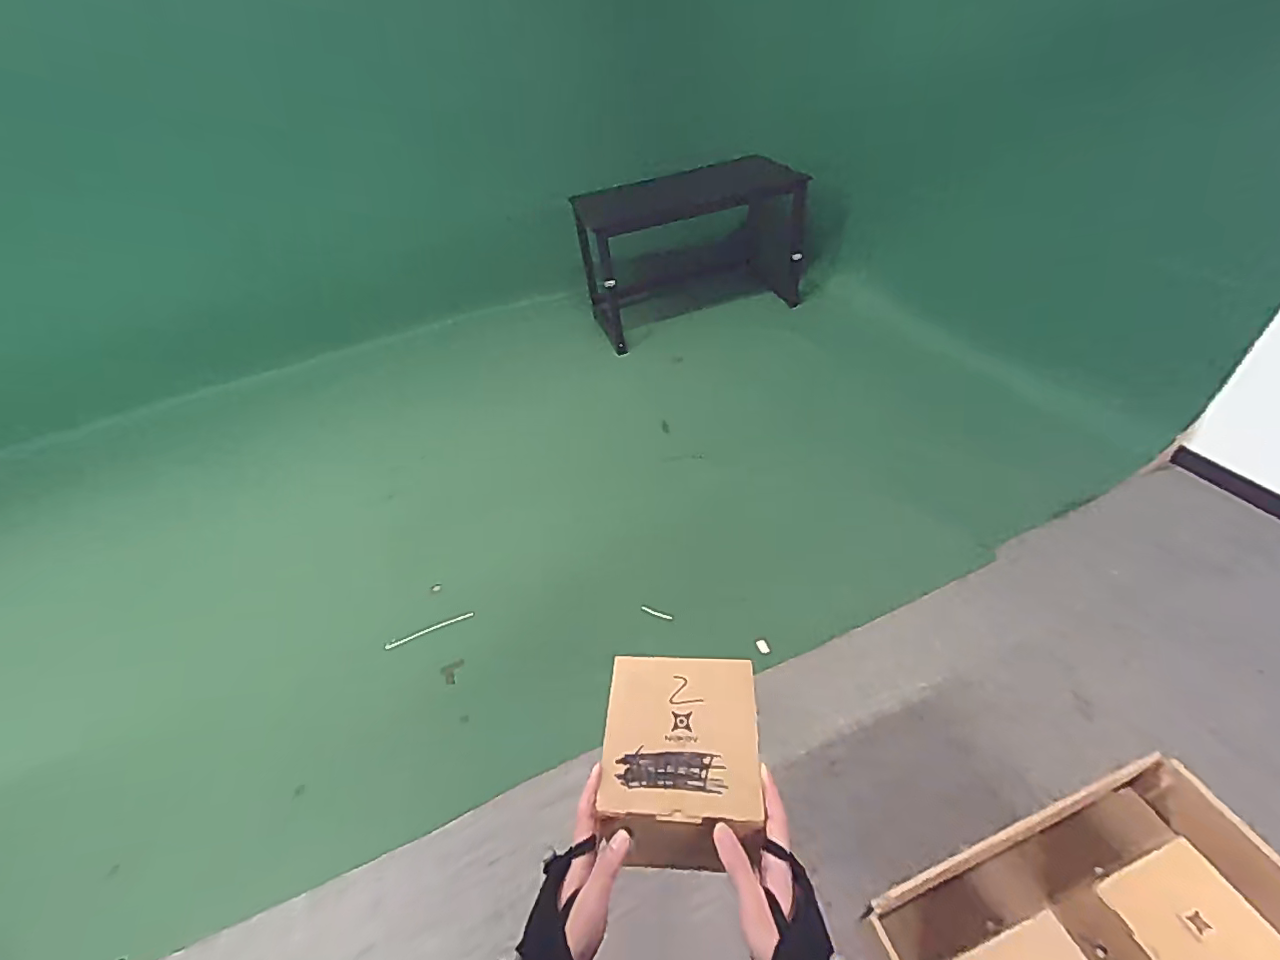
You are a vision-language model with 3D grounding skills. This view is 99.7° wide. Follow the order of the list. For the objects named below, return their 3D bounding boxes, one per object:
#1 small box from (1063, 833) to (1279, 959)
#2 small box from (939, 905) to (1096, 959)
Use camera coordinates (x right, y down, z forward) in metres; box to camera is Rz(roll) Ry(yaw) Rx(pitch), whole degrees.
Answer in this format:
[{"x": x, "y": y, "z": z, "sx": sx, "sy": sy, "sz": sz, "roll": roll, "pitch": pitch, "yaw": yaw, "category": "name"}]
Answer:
[{"x": 0.796, "y": 0.671, "z": 0.812, "sx": 0.179, "sy": 0.176, "sz": 0.168, "roll": -21, "pitch": 45, "yaw": -9, "category": "small box"}, {"x": 0.556, "y": 0.748, "z": 0.769, "sx": 0.179, "sy": 0.176, "sz": 0.168, "roll": -18, "pitch": 44, "yaw": -9, "category": "small box"}]
